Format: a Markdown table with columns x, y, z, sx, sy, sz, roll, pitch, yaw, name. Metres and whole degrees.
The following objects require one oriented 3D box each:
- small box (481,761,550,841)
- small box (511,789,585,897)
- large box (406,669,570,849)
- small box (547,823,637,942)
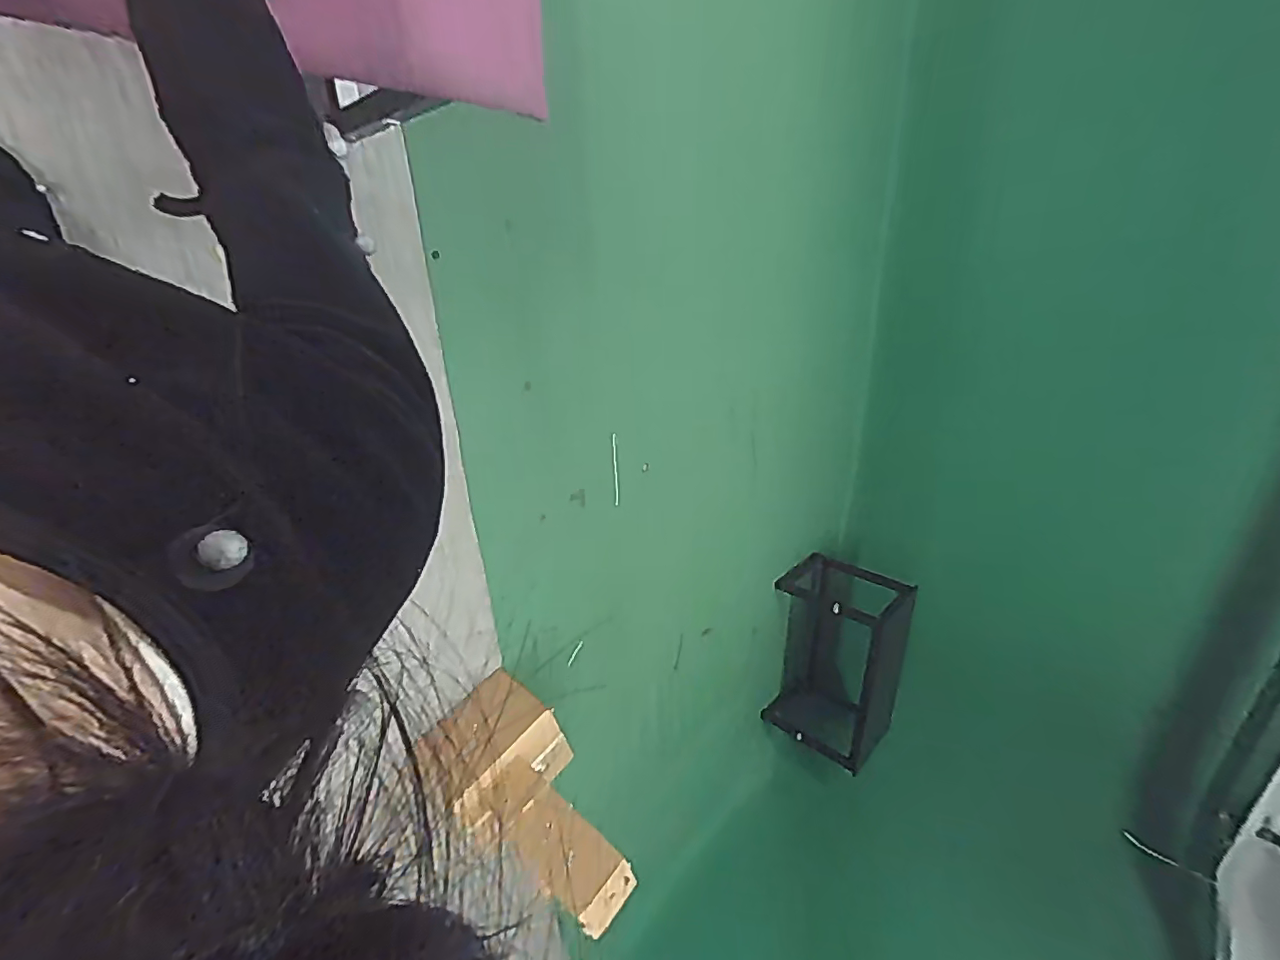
| x | y | z | sx | sy | sz | roll | pitch | yaw | name |
| --- | --- | --- | --- | --- | --- | --- | --- | --- | --- |
| -0.379 | 1.038 | 1.726 | 0.168 | 0.176 | 0.179 | -38 | 130 | -33 | small box |
| -0.262 | 1.082 | 1.620 | 0.179 | 0.176 | 0.168 | -39 | 130 | -32 | small box |
| -0.526 | 0.968 | 1.913 | 0.408 | 0.320 | 0.320 | -40 | 132 | -34 | large box |
| -0.141 | 1.122 | 1.517 | 0.179 | 0.176 | 0.168 | -38 | 129 | -32 | small box |
